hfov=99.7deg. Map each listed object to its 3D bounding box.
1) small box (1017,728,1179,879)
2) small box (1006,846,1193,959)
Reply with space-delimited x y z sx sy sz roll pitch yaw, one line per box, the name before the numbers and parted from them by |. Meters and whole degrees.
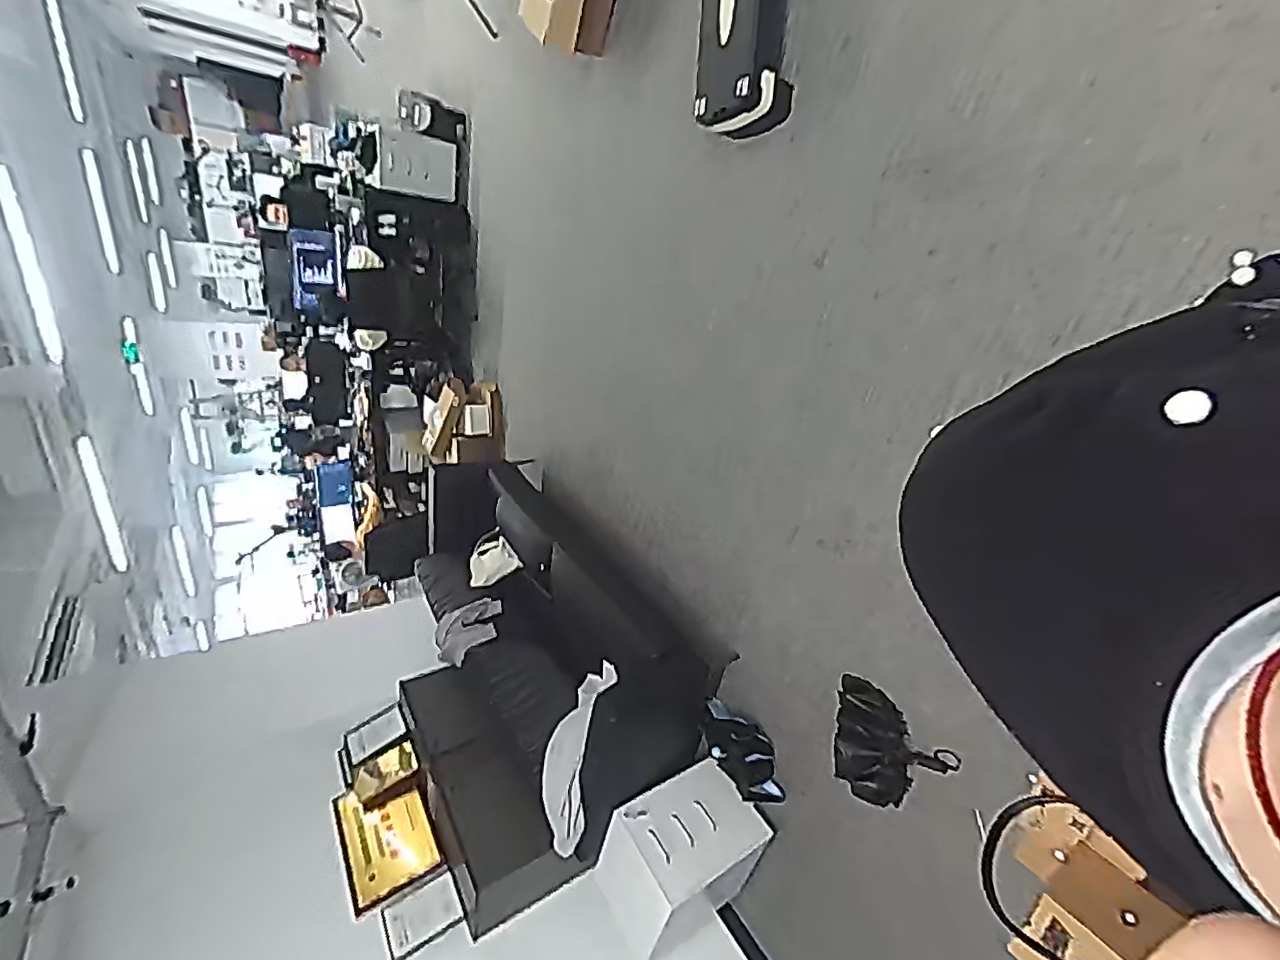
small box | 0.874 0.616 1.033 0.179 0.176 0.168 29 121 49
small box | 0.777 0.769 0.919 0.179 0.176 0.168 33 125 44
